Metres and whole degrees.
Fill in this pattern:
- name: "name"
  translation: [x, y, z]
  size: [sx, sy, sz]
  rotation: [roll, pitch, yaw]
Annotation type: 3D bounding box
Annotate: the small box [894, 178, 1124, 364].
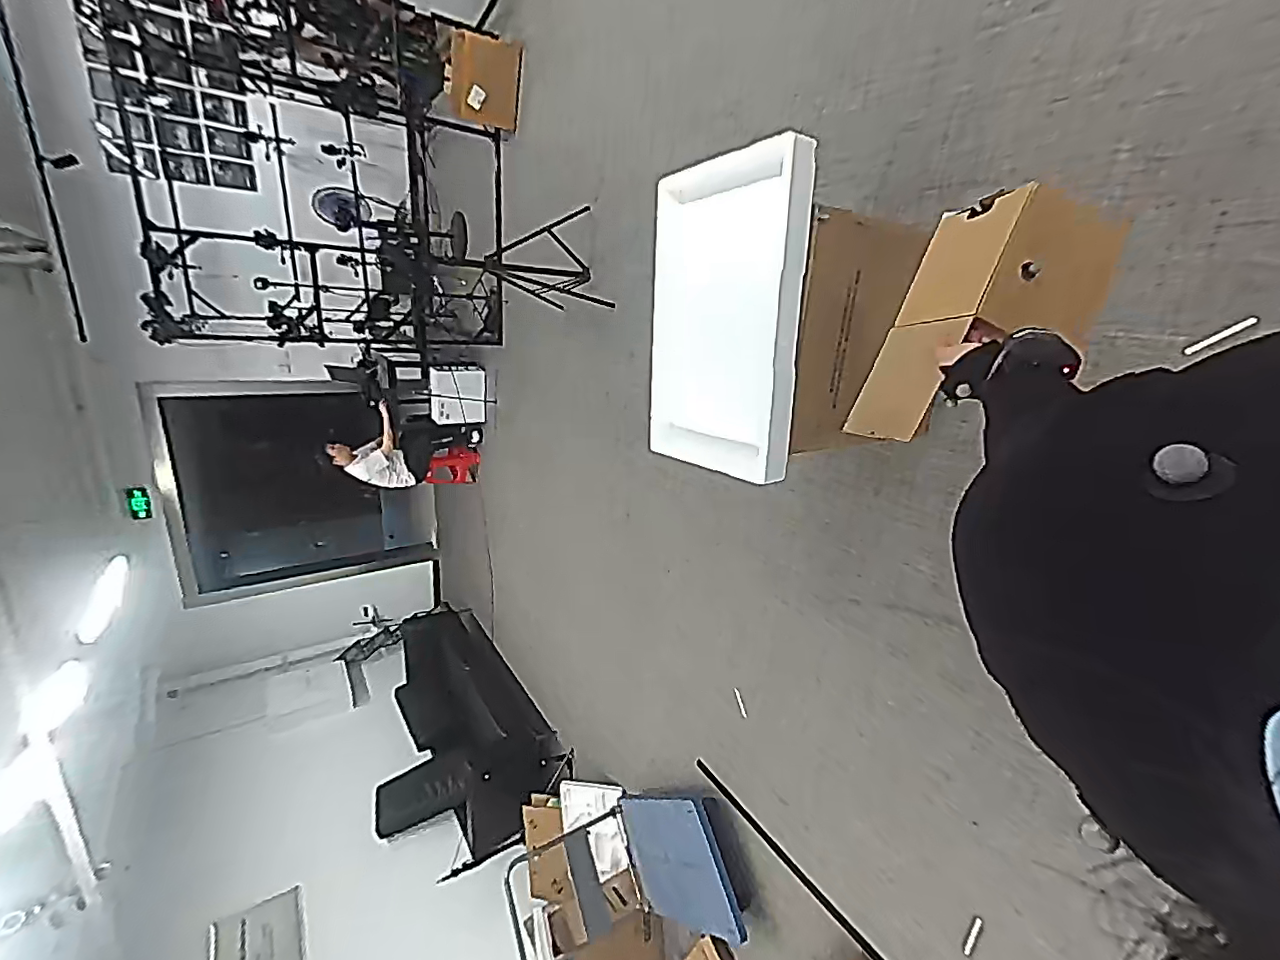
- name: "small box"
  translation: [0.499, -0.267, 0.744]
  size: [0.168, 0.176, 0.179]
  rotation: [-132, 64, -75]
